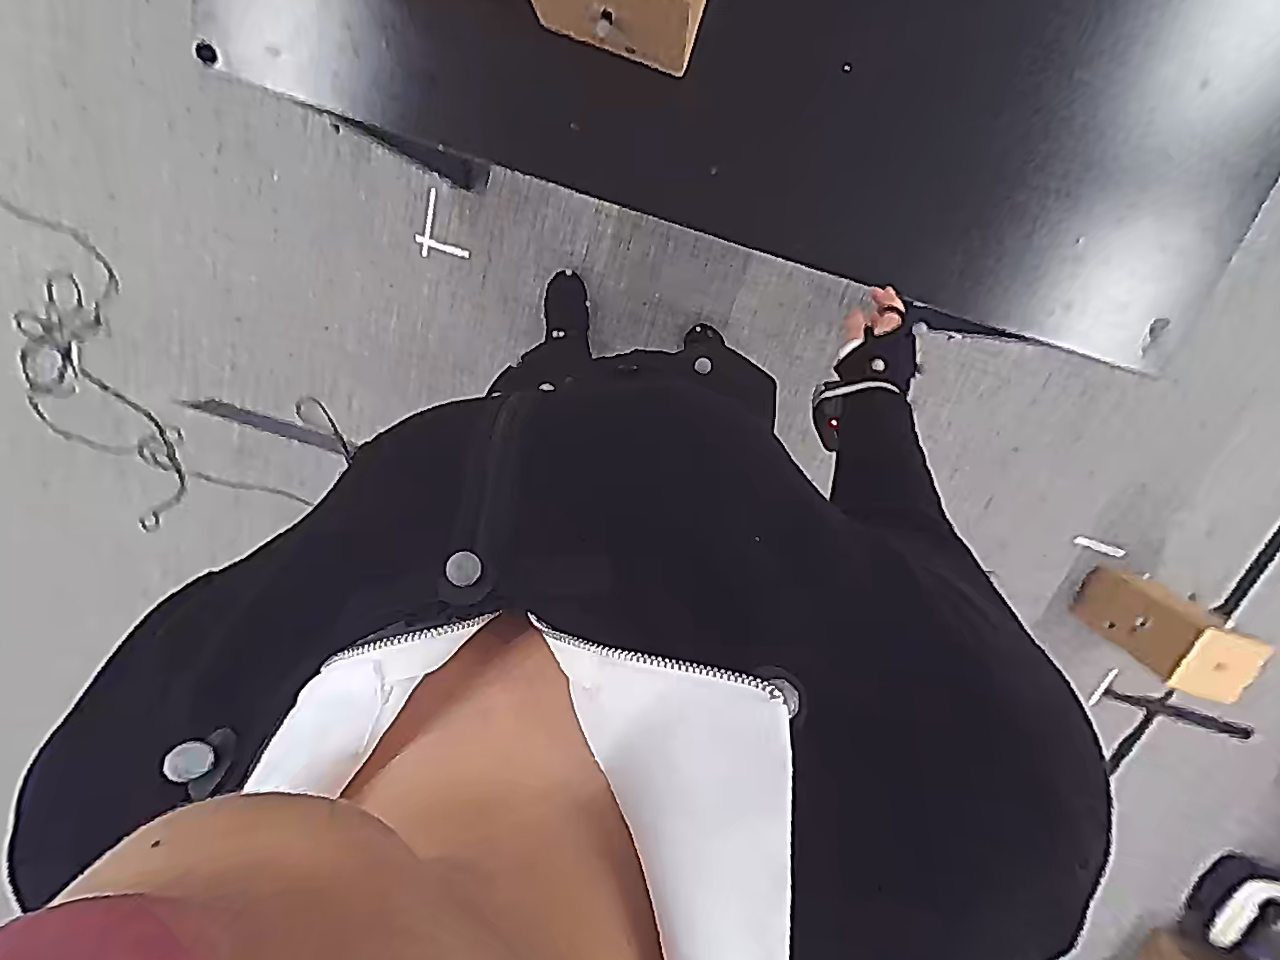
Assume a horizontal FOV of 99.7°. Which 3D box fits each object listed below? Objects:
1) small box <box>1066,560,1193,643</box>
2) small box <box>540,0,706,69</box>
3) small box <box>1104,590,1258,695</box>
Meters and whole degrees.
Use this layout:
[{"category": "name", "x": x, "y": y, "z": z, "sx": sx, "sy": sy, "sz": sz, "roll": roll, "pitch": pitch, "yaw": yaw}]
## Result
[{"category": "small box", "x": 1.350, "y": 0.352, "z": 1.511, "sx": 0.168, "sy": 0.176, "sz": 0.179, "roll": 15, "pitch": 108, "yaw": -3}, {"category": "small box", "x": -0.006, "y": -0.524, "z": 0.494, "sx": 0.168, "sy": 0.176, "sz": 0.179, "roll": 18, "pitch": 109, "yaw": -4}, {"category": "small box", "x": 1.341, "y": 0.400, "z": 1.356, "sx": 0.179, "sy": 0.176, "sz": 0.168, "roll": 16, "pitch": 107, "yaw": -2}]
